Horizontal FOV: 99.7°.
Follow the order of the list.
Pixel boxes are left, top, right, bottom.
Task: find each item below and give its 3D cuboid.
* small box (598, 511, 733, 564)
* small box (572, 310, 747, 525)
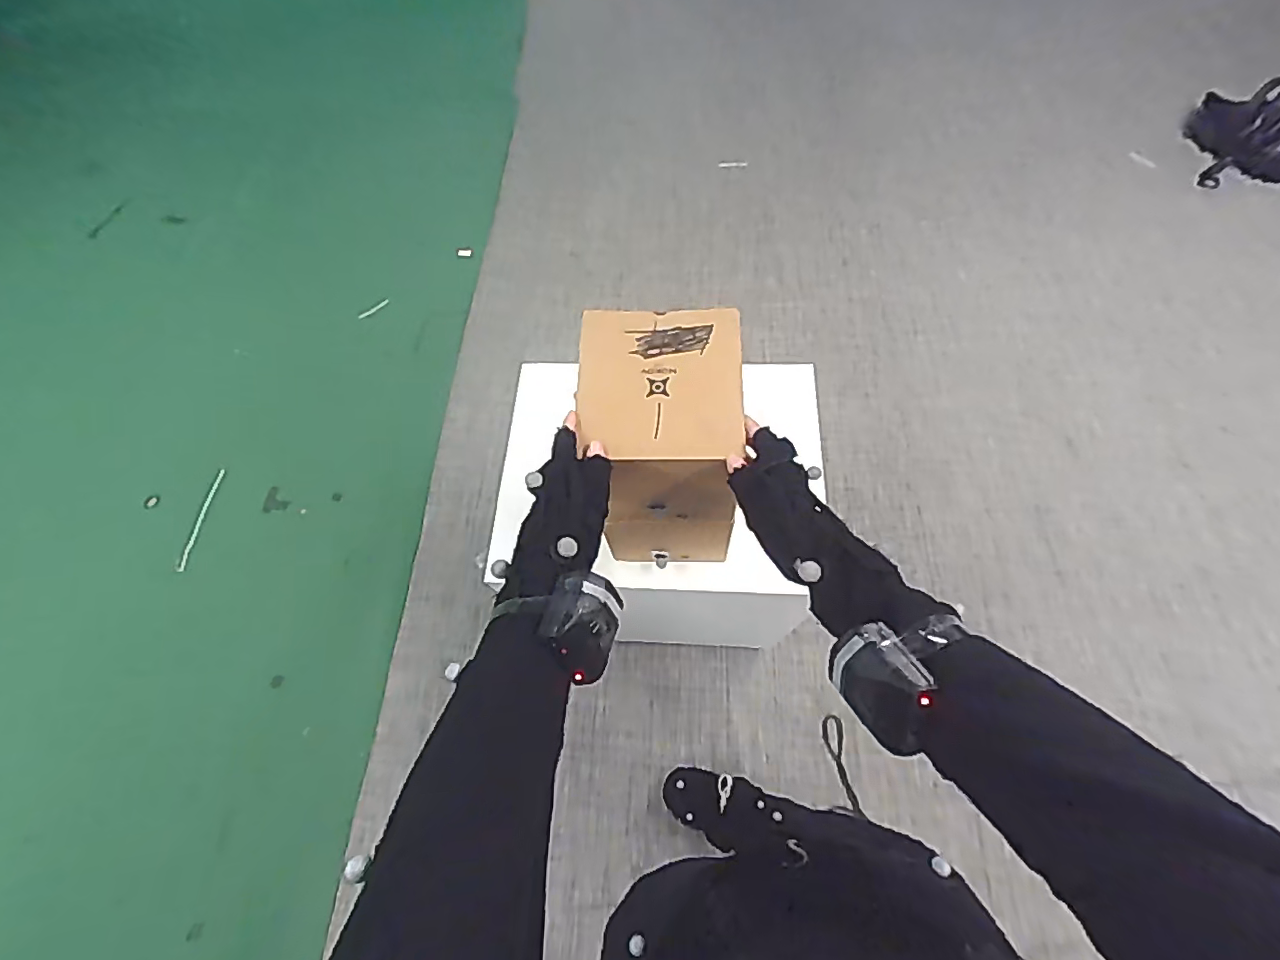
[{"bbox_3d":[0.039,0.009,0.753,0.168,0.176,0.179,-2,66,6],"label":"small box"},{"bbox_3d":[0.023,-0.063,0.606,0.168,0.176,0.179,-3,63,4],"label":"small box"}]
